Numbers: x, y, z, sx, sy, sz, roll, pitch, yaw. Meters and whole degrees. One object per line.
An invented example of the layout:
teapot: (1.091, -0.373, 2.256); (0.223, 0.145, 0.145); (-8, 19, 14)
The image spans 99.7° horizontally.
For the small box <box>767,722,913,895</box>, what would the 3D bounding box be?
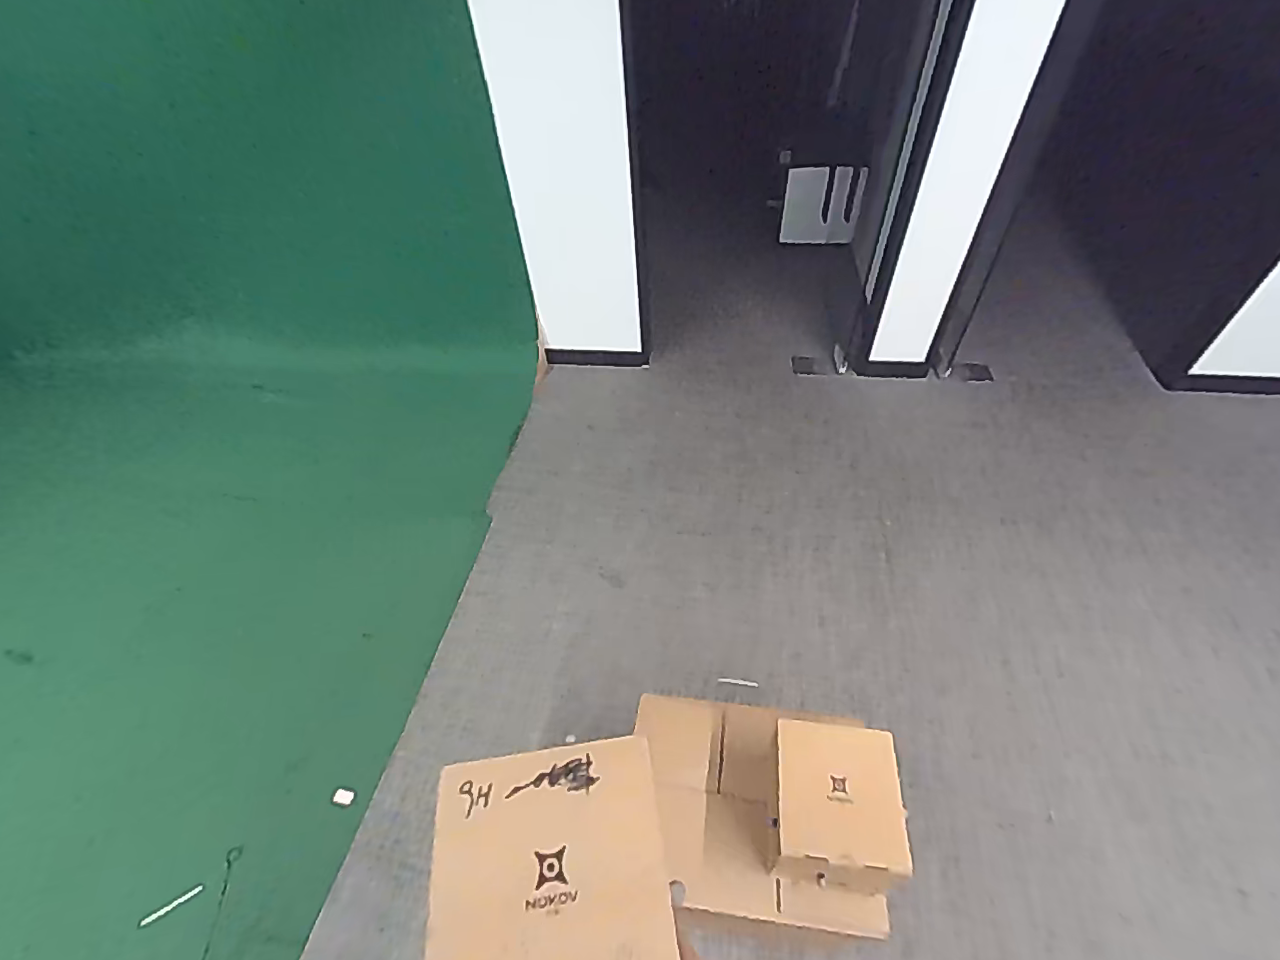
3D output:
small box: (0.280, 0.486, 0.801); (0.168, 0.176, 0.179); (3, 48, 9)

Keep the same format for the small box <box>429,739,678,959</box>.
small box: (-0.059, 0.334, 0.441); (0.168, 0.176, 0.179); (-7, 51, -4)
